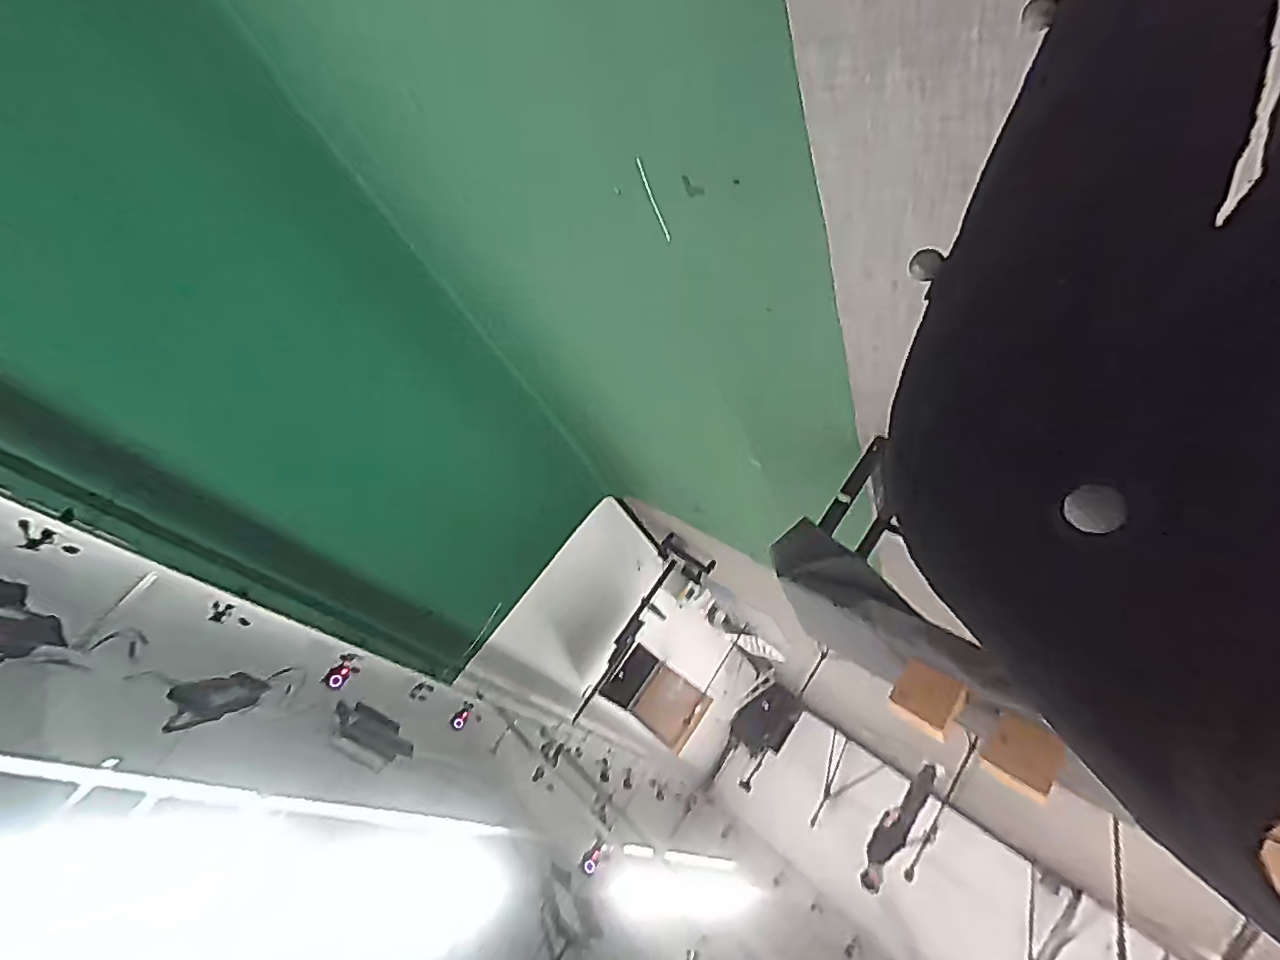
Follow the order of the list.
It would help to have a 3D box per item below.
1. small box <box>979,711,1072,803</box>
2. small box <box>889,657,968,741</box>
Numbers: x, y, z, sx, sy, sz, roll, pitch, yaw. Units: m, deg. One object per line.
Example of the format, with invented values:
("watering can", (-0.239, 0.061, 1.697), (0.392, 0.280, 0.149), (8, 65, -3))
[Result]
("small box", (1.131, 0.808, 1.594), (0.179, 0.176, 0.168), (24, 161, 43))
("small box", (0.937, 0.704, 1.752), (0.179, 0.176, 0.168), (26, 162, 41))
